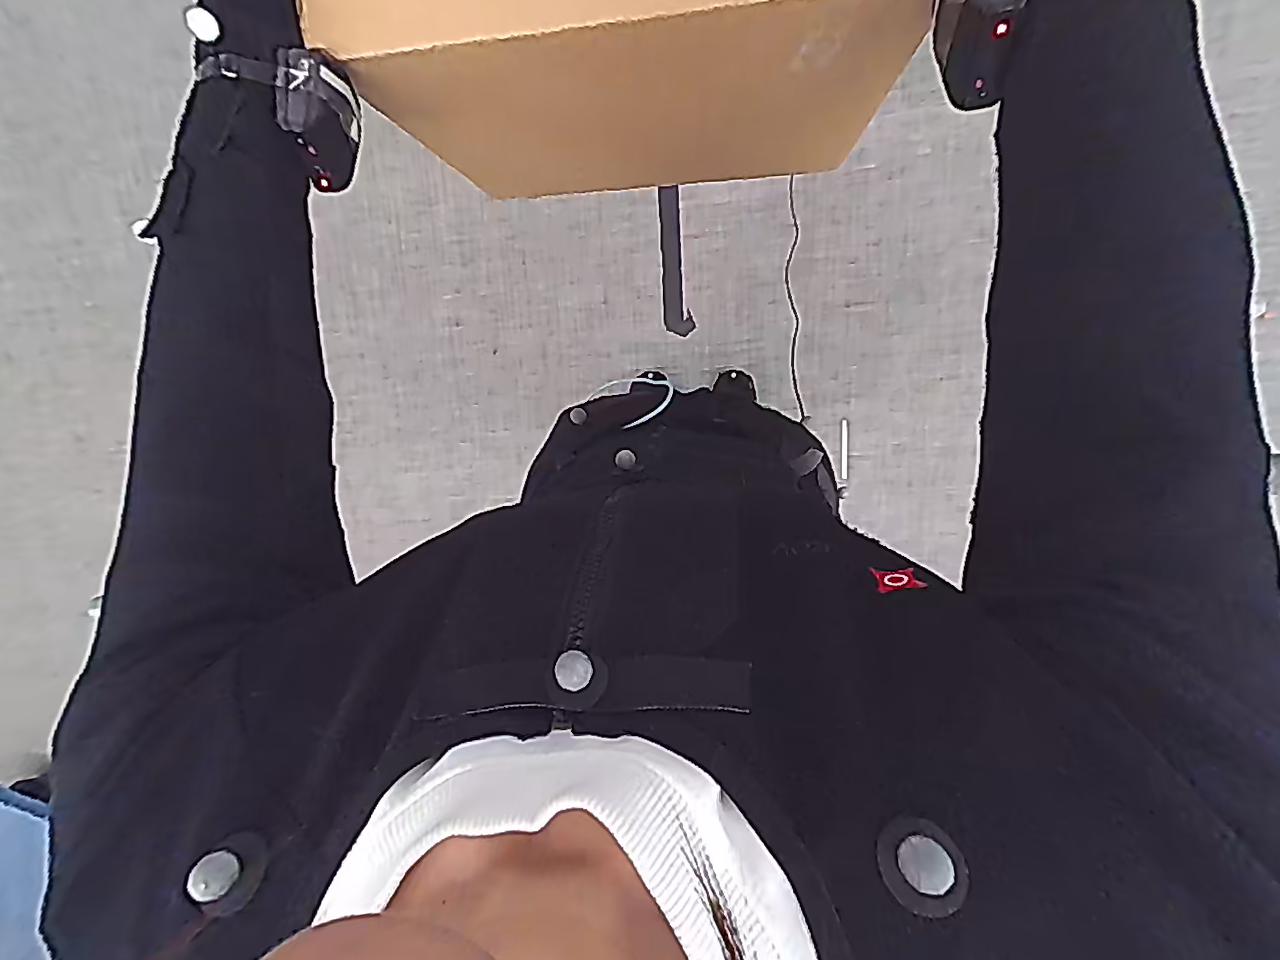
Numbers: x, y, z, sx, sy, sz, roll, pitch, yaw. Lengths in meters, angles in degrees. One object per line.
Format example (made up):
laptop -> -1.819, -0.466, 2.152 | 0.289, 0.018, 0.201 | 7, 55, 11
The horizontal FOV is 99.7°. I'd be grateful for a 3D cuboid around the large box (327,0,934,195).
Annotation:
large box -> -0.001, -0.467, 0.452 | 0.408, 0.320, 0.320 | -2, 102, 7
